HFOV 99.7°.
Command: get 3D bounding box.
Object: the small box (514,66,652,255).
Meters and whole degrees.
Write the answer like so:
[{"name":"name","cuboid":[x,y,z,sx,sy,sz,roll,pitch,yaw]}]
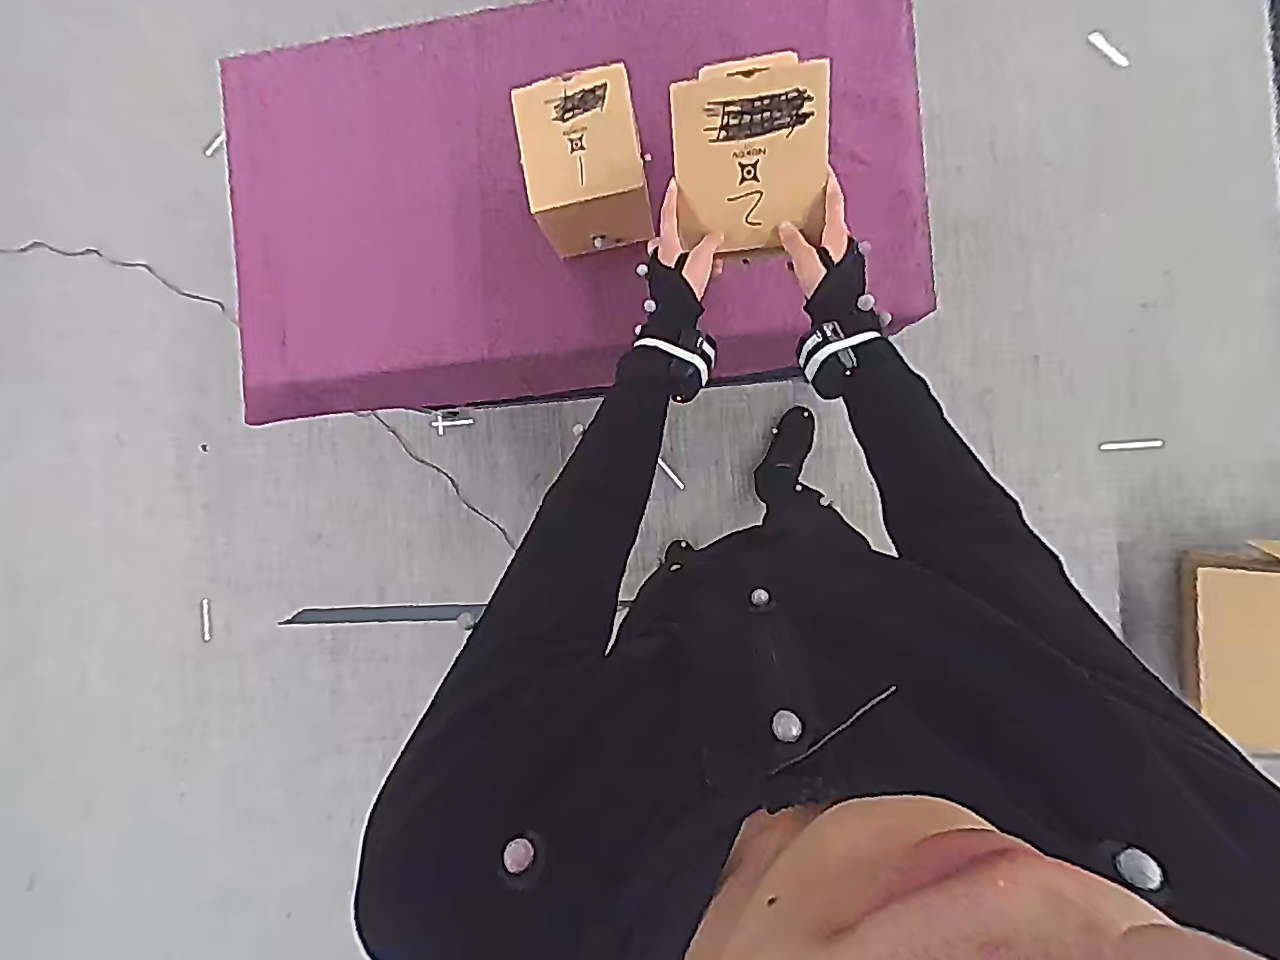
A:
[{"name":"small box","cuboid":[-0.080,-0.479,0.836,0.168,0.176,0.179,-10,90,7]}]
